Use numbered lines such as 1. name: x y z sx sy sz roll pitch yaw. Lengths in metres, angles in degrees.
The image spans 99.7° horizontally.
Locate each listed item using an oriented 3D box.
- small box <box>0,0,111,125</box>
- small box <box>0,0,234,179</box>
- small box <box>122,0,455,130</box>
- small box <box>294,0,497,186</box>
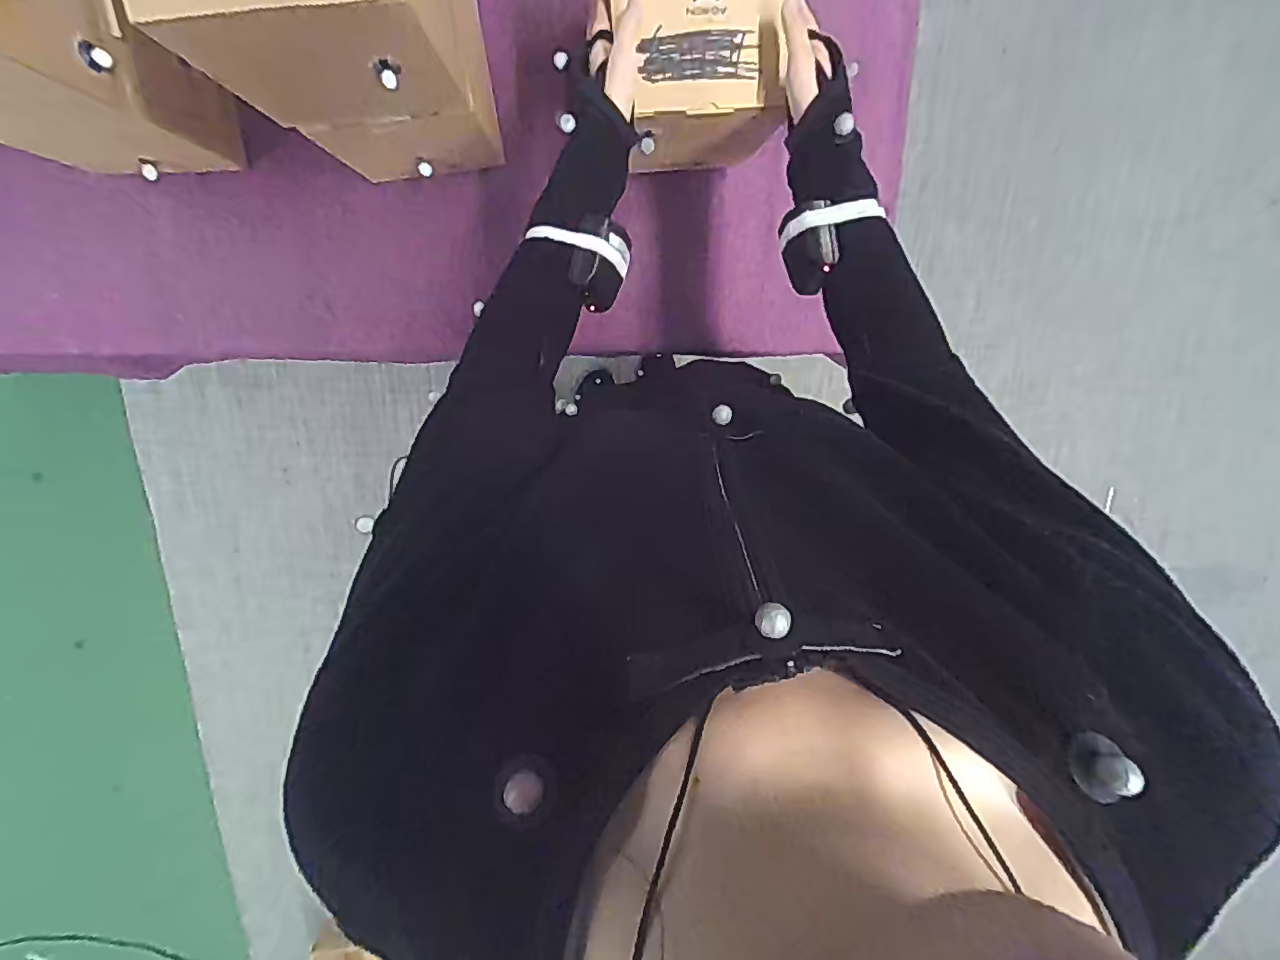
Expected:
1. small box: -0.546 -0.380 0.391 0.179 0.176 0.168 -2 105 -2
2. small box: -0.556 -0.421 0.550 0.179 0.176 0.168 -3 104 -3
3. small box: -0.252 -0.390 0.407 0.179 0.176 0.168 -6 104 -1
4. small box: -0.258 -0.433 0.565 0.168 0.176 0.179 -7 105 -1
